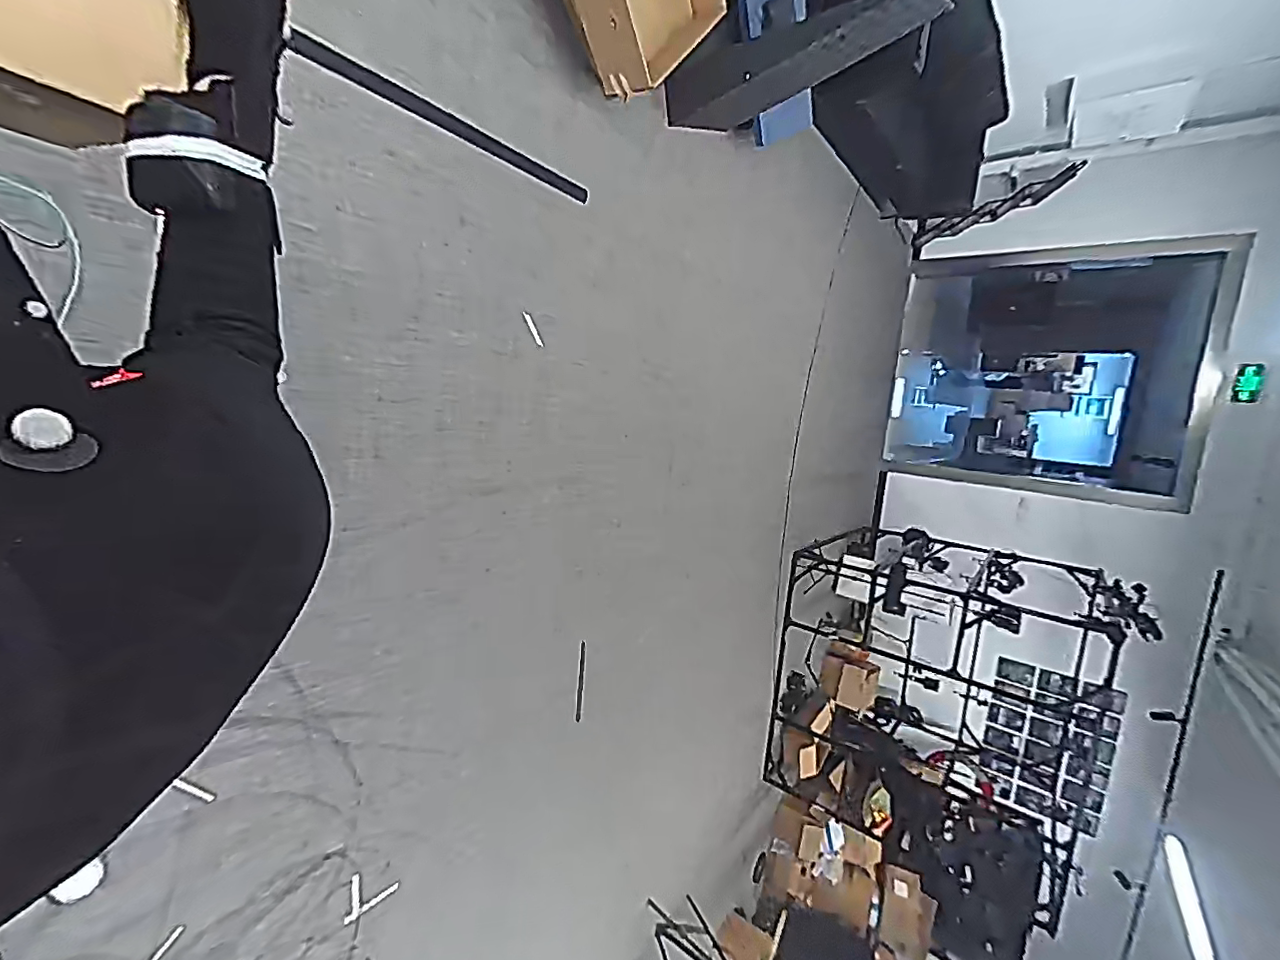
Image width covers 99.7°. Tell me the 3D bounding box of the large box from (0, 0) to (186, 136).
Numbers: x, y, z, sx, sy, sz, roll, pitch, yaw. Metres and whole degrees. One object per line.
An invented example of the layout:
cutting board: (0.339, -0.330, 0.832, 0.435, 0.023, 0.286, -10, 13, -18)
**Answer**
large box: (-0.534, -0.438, 0.278, 0.408, 0.320, 0.320, -4, 111, -57)
